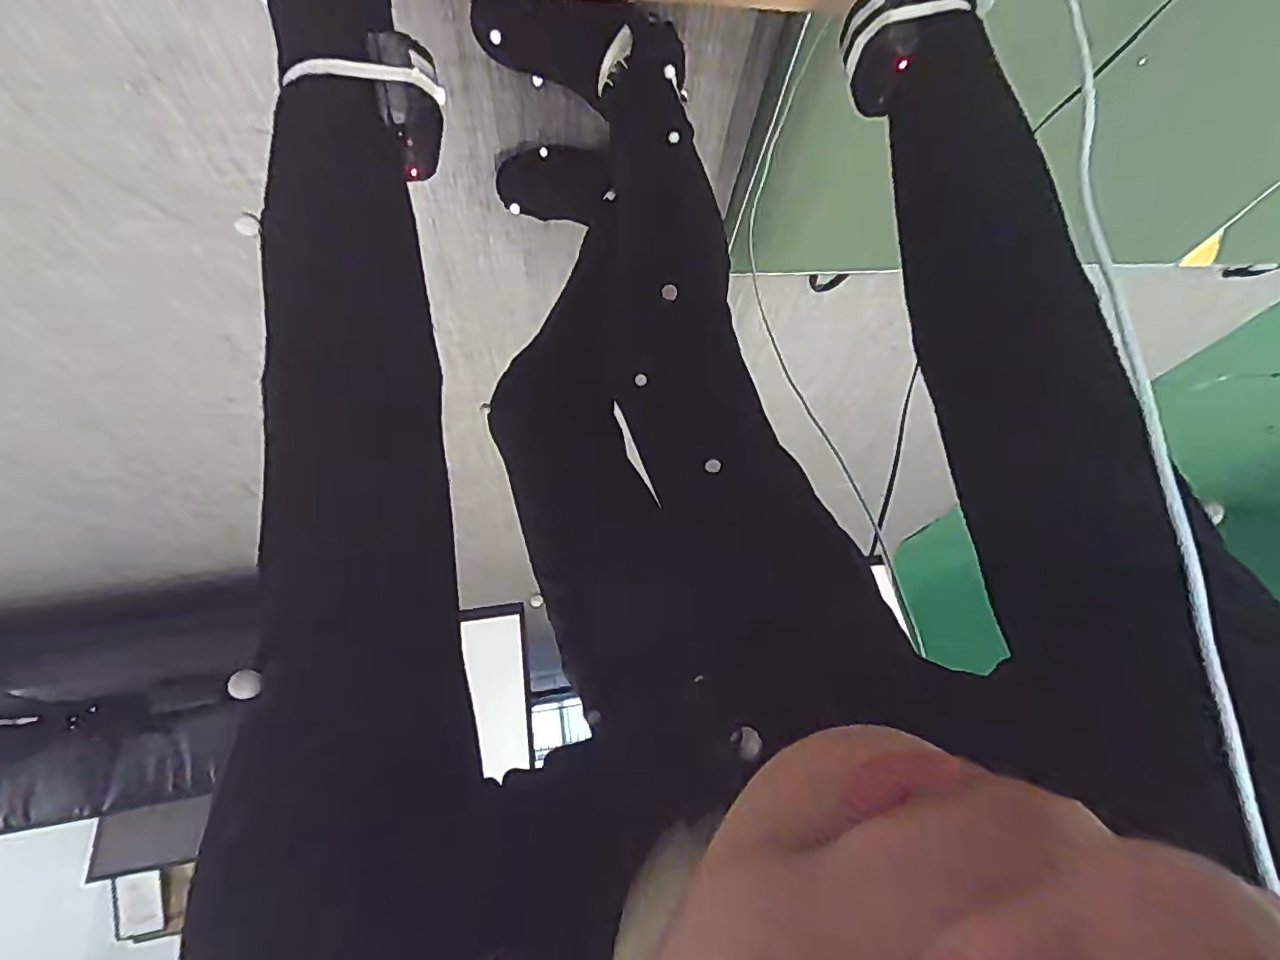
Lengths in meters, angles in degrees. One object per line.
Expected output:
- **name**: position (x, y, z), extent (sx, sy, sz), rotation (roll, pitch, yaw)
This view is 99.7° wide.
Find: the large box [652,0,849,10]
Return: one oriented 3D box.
- **large box**: position (-0.007, -0.629, 0.415), extent (0.408, 0.320, 0.320), rotation (-6, 154, -11)
